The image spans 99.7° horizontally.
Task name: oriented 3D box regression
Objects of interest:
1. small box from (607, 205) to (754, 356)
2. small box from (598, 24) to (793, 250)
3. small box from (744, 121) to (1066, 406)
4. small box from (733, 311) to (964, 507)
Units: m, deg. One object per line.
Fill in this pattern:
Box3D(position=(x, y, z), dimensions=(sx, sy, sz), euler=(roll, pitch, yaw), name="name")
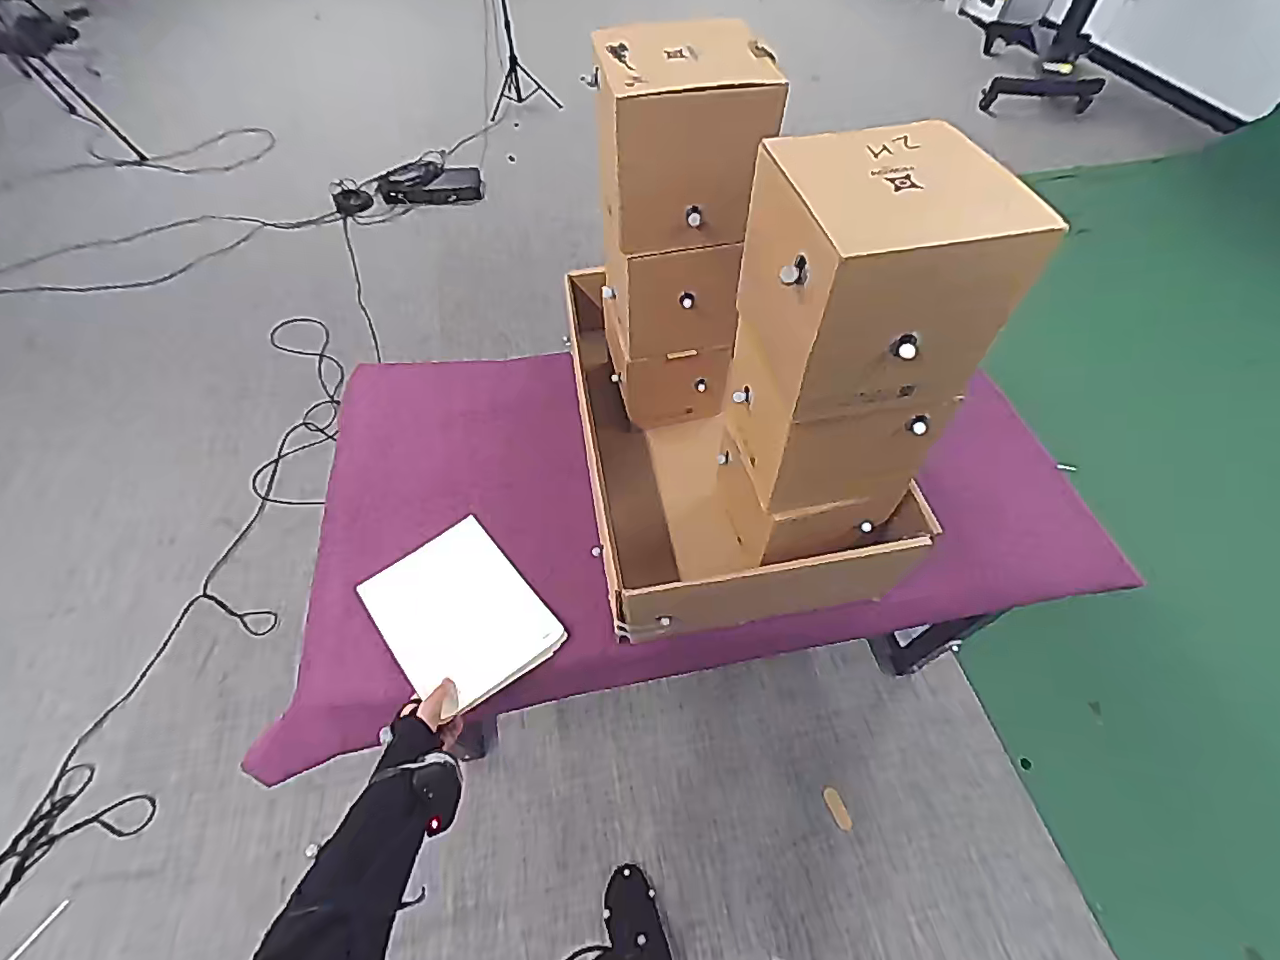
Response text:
Box3D(position=(0.052, -0.299, 0.762), dimensions=(0.179, 0.176, 0.168), euler=(-11, 57, -7), name="small box")
Box3D(position=(0.049, -0.392, 0.627), dimensions=(0.179, 0.176, 0.168), euler=(-9, 57, -7), name="small box")
Box3D(position=(0.201, -0.180, 0.475), dimensions=(0.168, 0.176, 0.179), euler=(-9, 54, -5), name="small box")
Box3D(position=(0.210, -0.086, 0.610), dimensions=(0.179, 0.176, 0.168), euler=(-9, 55, -5), name="small box")
